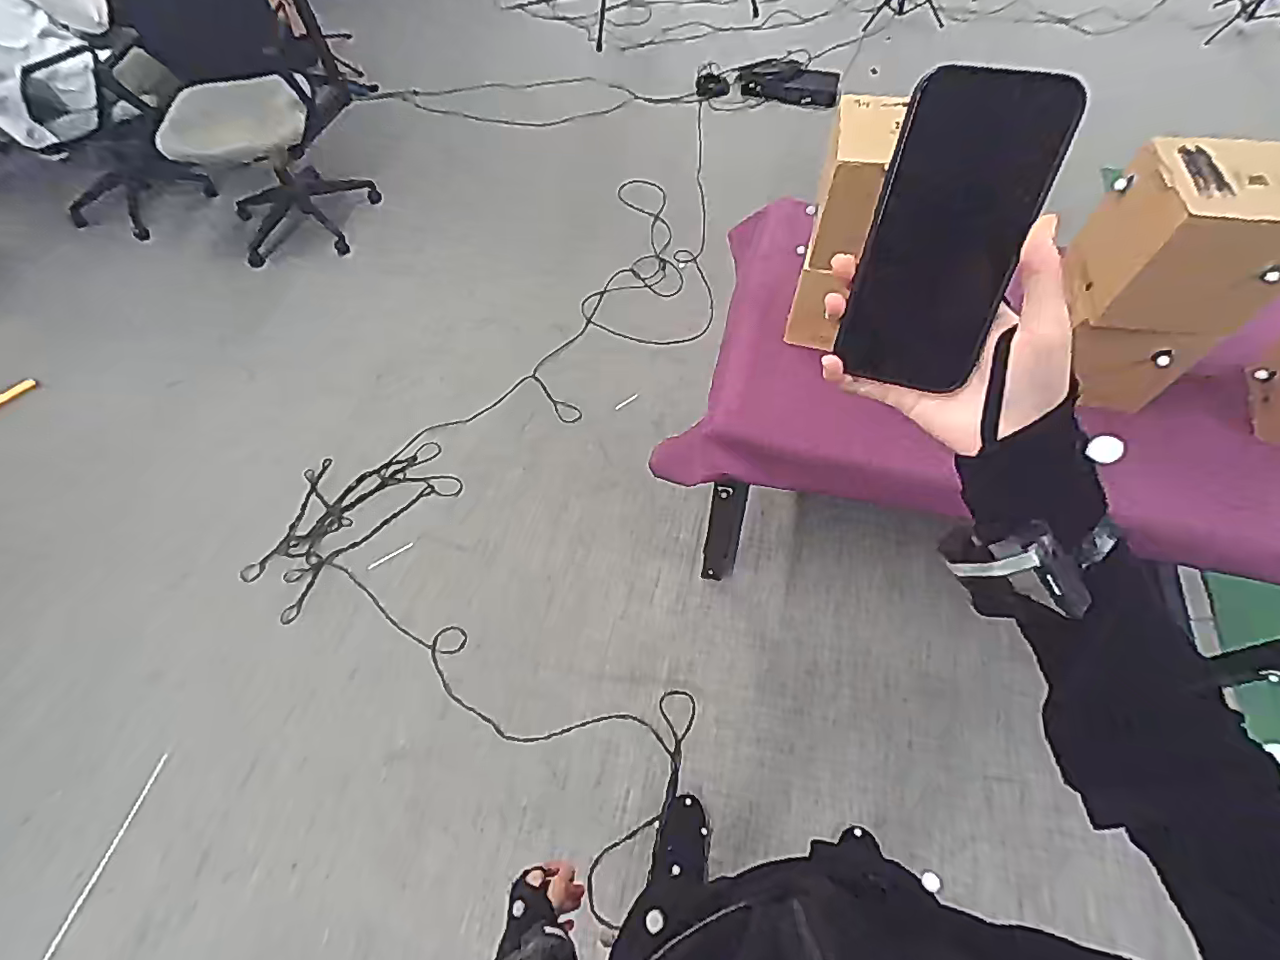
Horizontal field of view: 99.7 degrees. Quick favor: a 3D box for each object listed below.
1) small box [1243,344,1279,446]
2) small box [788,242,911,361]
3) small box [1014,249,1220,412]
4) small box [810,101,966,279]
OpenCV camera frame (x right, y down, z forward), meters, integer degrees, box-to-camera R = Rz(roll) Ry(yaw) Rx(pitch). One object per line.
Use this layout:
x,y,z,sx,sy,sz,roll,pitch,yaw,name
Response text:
1.049,-0.139,0.777,0.179,0.176,0.168,19,62,15,small box
0.362,-0.333,0.938,0.168,0.176,0.179,14,61,12,small box
0.728,-0.228,0.850,0.179,0.176,0.168,13,61,11,small box
0.356,-0.424,0.801,0.168,0.176,0.179,10,61,9,small box
